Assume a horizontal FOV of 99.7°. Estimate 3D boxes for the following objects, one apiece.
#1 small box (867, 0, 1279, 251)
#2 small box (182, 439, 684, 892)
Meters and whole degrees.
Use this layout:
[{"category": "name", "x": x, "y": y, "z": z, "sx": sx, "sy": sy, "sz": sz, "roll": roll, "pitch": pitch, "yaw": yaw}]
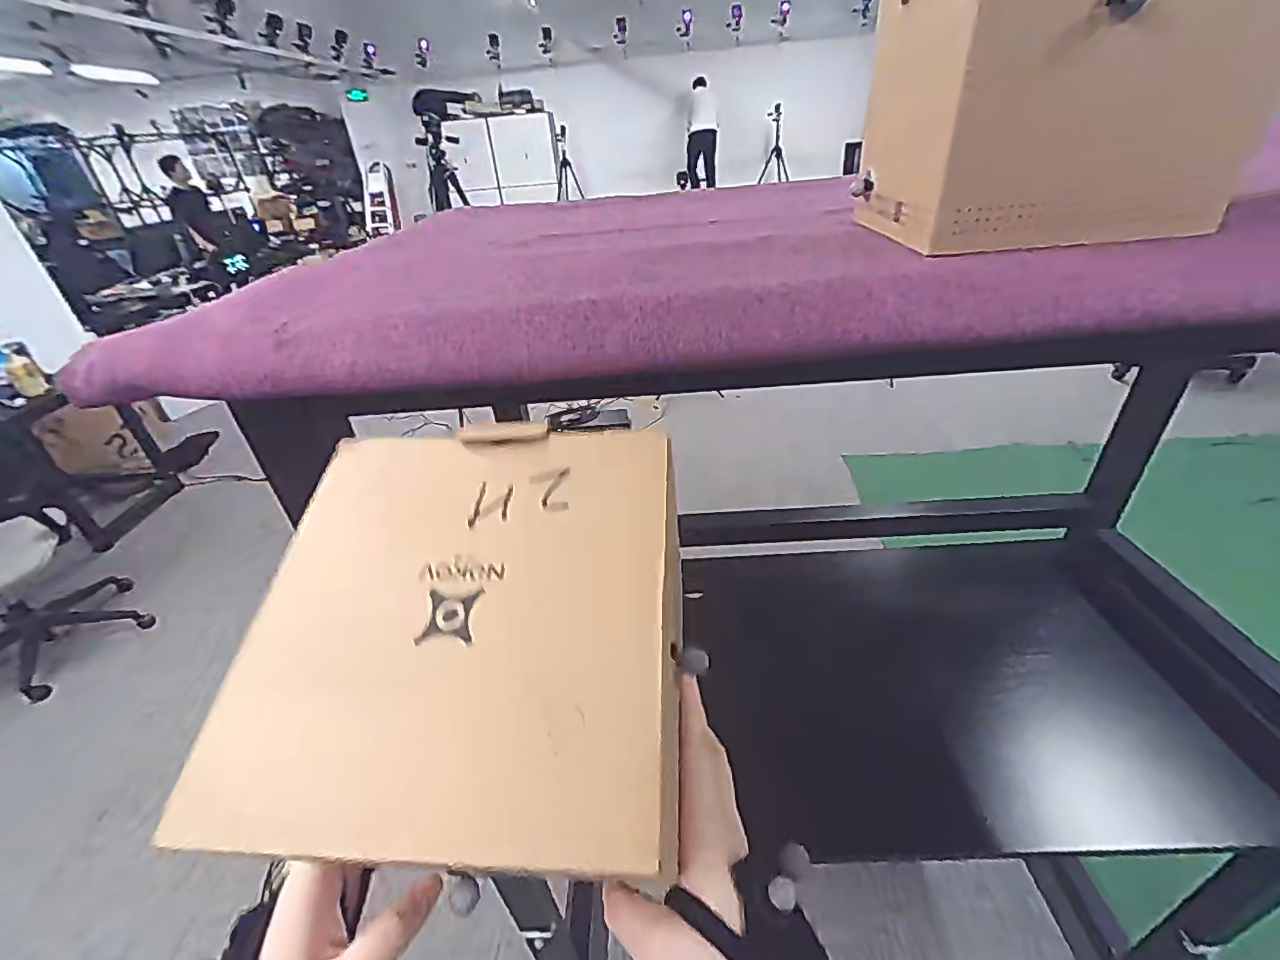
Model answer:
[{"category": "small box", "x": 0.268, "y": -0.260, "z": 0.366, "sx": 0.179, "sy": 0.176, "sz": 0.168, "roll": -2, "pitch": 34, "yaw": 4}, {"category": "small box", "x": -0.062, "y": 0.098, "z": 0.284, "sx": 0.168, "sy": 0.176, "sz": 0.179, "roll": 0, "pitch": 54, "yaw": 6}]
